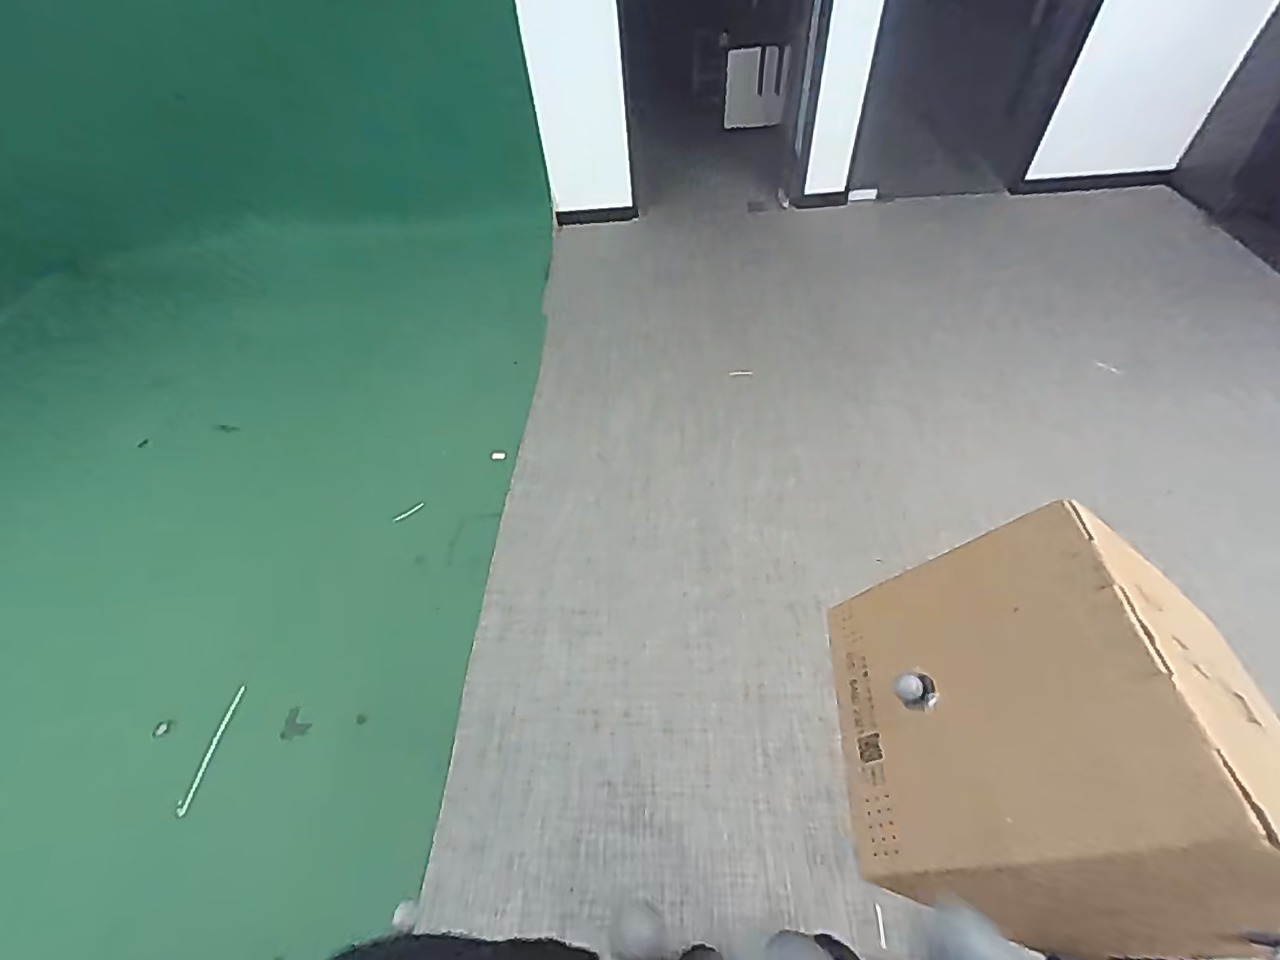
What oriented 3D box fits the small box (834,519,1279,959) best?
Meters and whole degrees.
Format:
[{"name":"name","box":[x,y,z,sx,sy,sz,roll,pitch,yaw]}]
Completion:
[{"name":"small box","box":[0.242,0.160,0.315,0.179,0.176,0.168,33,41,-18]}]
